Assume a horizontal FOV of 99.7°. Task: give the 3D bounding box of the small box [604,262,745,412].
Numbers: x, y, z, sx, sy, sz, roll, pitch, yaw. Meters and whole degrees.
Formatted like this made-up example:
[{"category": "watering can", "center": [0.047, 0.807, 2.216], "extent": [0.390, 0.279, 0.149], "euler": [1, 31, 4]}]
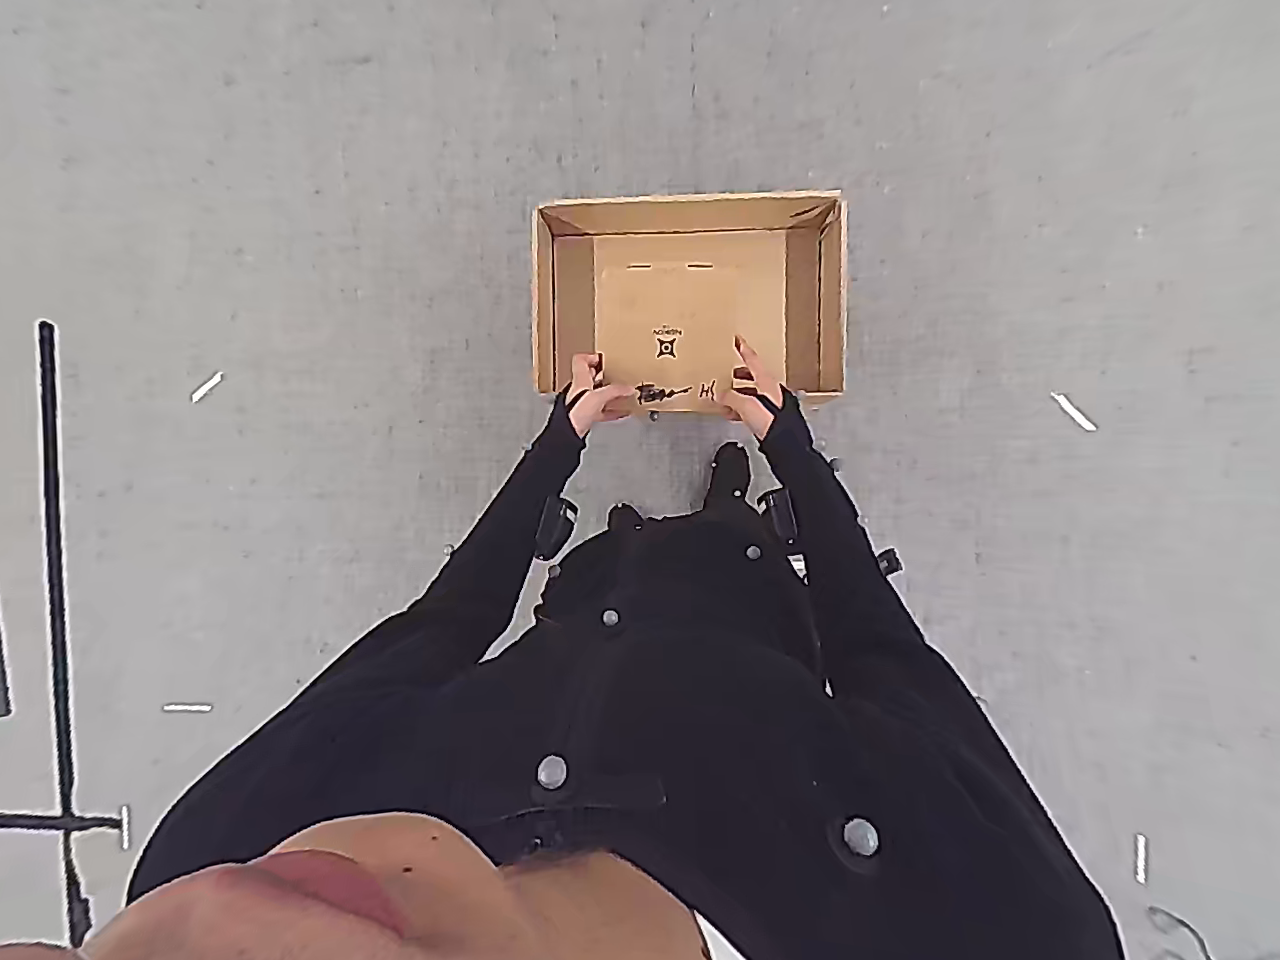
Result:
[{"category": "small box", "center": [0.049, -0.188, 0.734], "extent": [0.168, 0.176, 0.179], "euler": [3, 103, 8]}]
